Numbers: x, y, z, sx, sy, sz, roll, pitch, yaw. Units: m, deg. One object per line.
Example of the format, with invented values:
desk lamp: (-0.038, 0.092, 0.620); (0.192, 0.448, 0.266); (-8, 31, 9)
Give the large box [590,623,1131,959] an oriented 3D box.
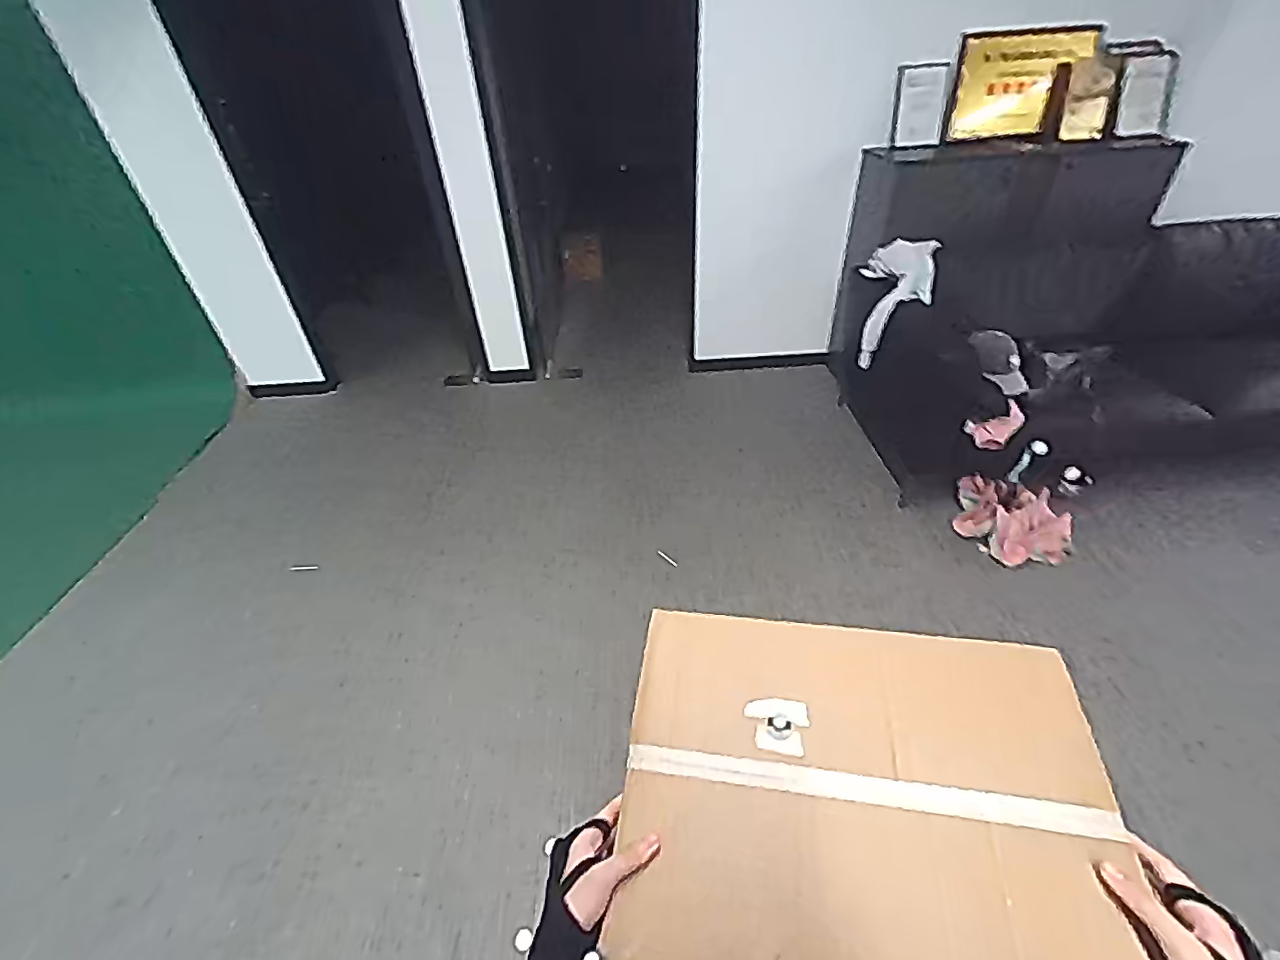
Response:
large box: (0.194, 0.380, 0.593); (0.408, 0.320, 0.320); (2, 47, 11)
